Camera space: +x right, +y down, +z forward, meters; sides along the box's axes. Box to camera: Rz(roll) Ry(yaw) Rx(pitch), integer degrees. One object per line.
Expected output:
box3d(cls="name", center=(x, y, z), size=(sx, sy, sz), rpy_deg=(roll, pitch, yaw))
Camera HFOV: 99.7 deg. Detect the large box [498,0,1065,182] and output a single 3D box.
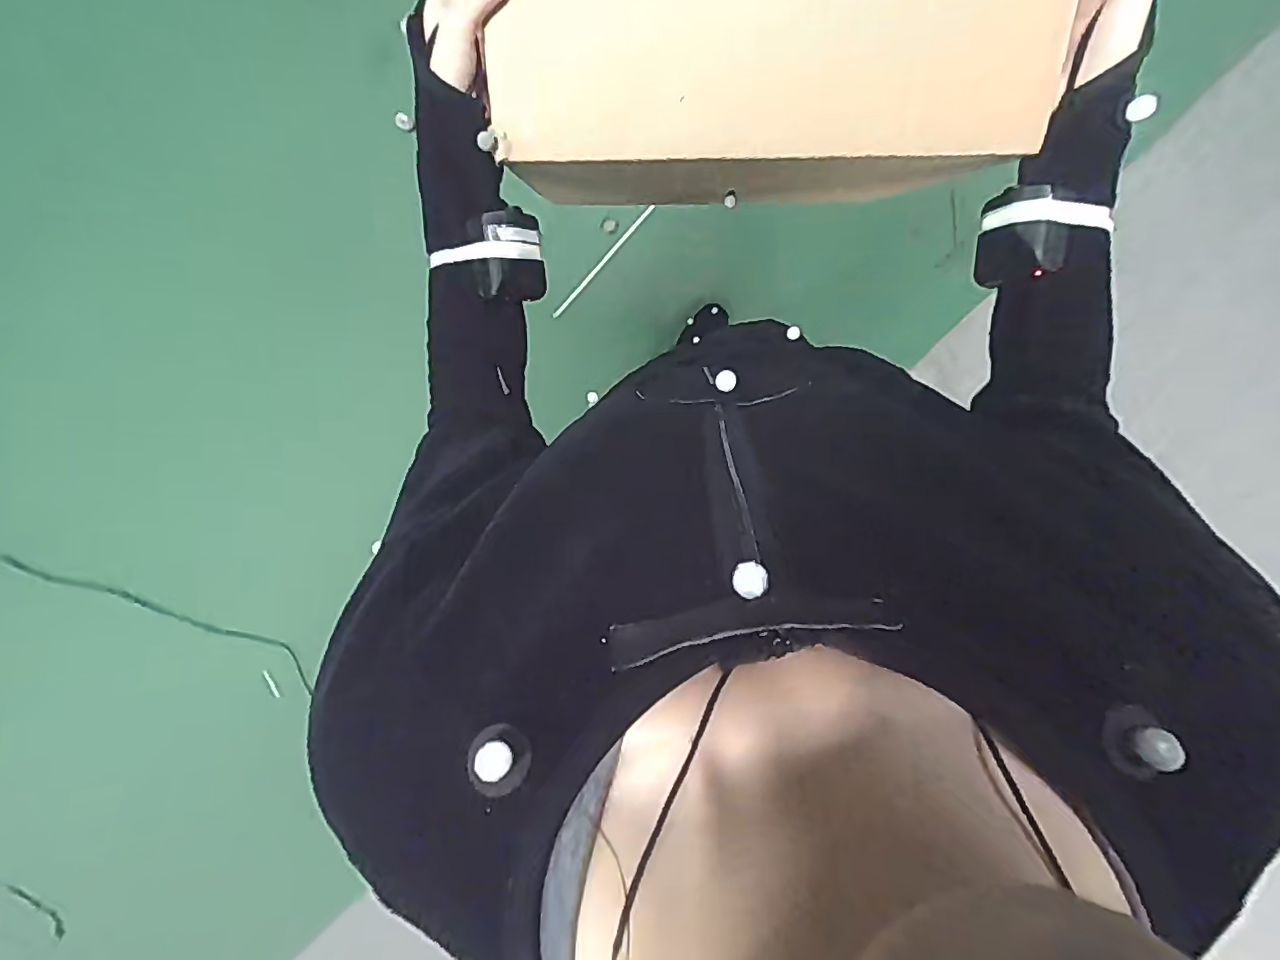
box3d(cls="large box", center=(0.100, -0.459, 0.487), size=(0.408, 0.320, 0.320), rpy_deg=(0, 112, 0))
